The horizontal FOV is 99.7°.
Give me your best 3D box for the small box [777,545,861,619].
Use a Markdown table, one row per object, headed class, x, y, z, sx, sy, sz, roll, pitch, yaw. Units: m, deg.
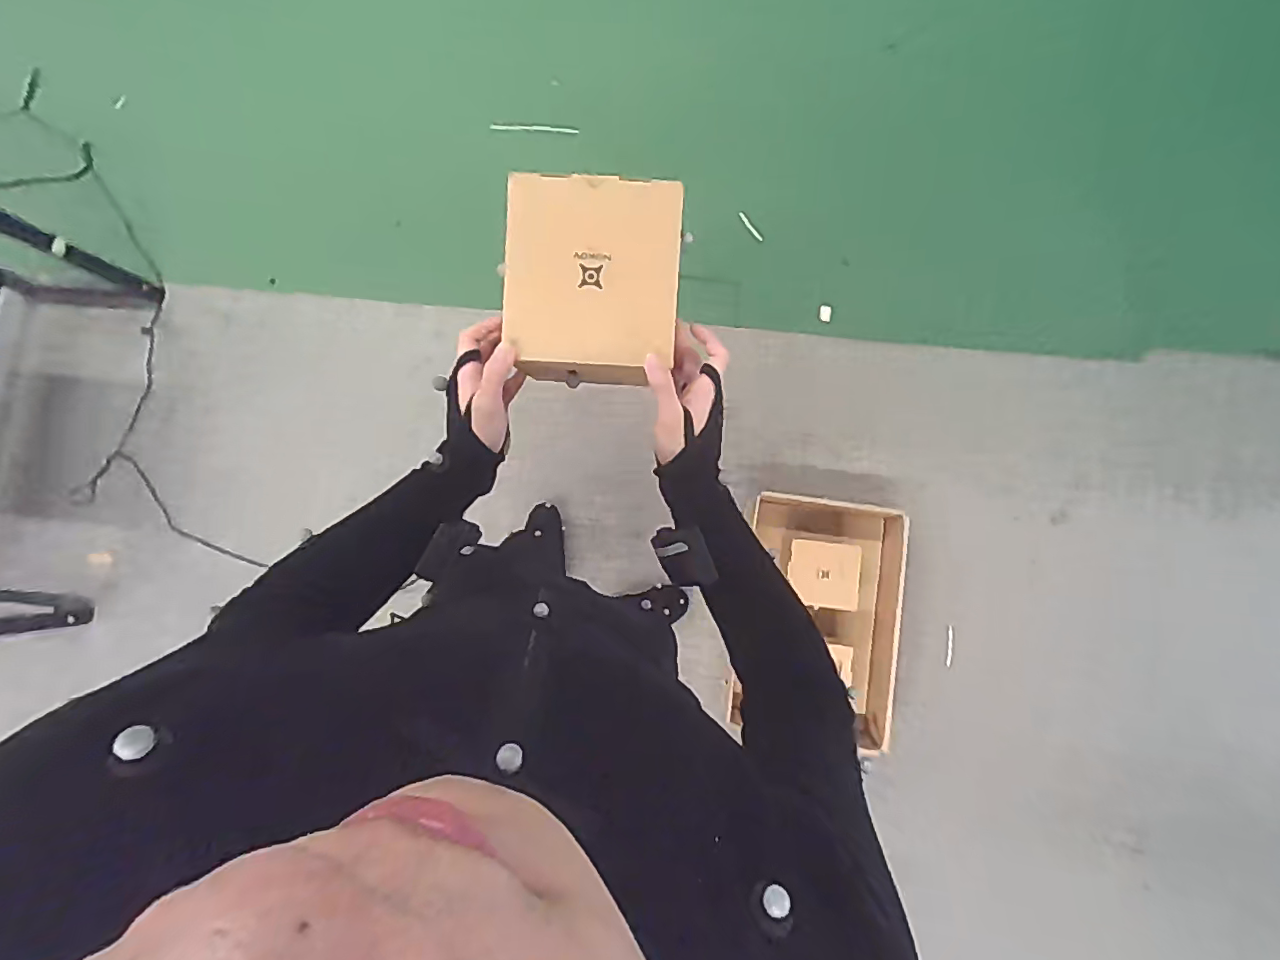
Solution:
| class | x | y | z | sx | sy | sz | roll | pitch | yaw |
| --- | --- | --- | --- | --- | --- | --- | --- | --- | --- |
| small box | 0.469 | 0.266 | 1.442 | 0.179 | 0.176 | 0.168 | 7 | 85 | 6 |
